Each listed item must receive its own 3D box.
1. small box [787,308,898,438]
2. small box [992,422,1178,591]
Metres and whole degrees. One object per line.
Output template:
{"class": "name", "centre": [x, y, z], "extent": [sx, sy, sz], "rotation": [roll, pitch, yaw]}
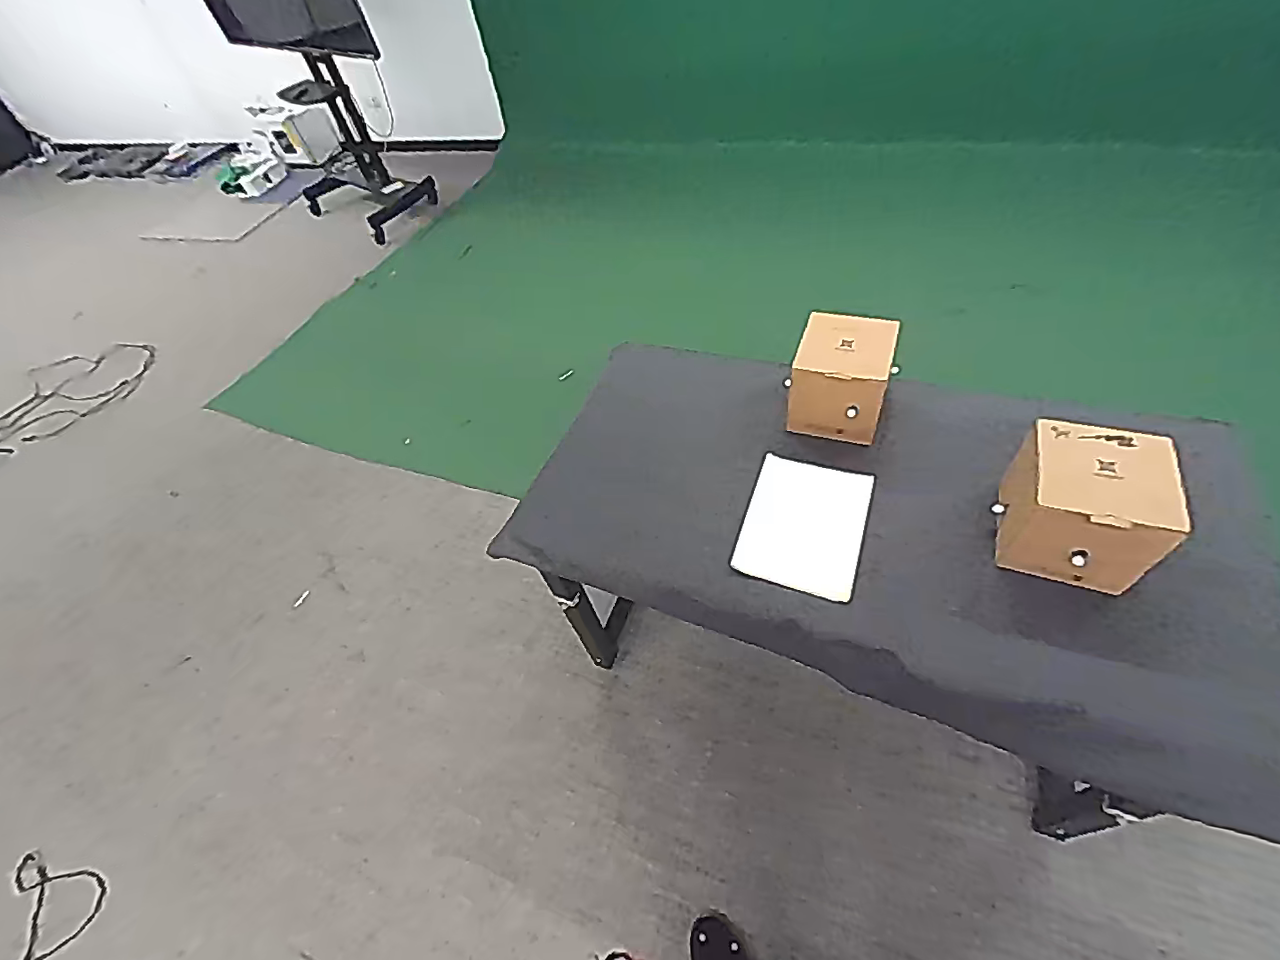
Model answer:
{"class": "small box", "centre": [0.387, -0.205, 1.050], "extent": [0.168, 0.176, 0.179], "rotation": [13, 55, 19]}
{"class": "small box", "centre": [0.657, 0.043, 0.820], "extent": [0.168, 0.176, 0.179], "rotation": [14, 57, 20]}
